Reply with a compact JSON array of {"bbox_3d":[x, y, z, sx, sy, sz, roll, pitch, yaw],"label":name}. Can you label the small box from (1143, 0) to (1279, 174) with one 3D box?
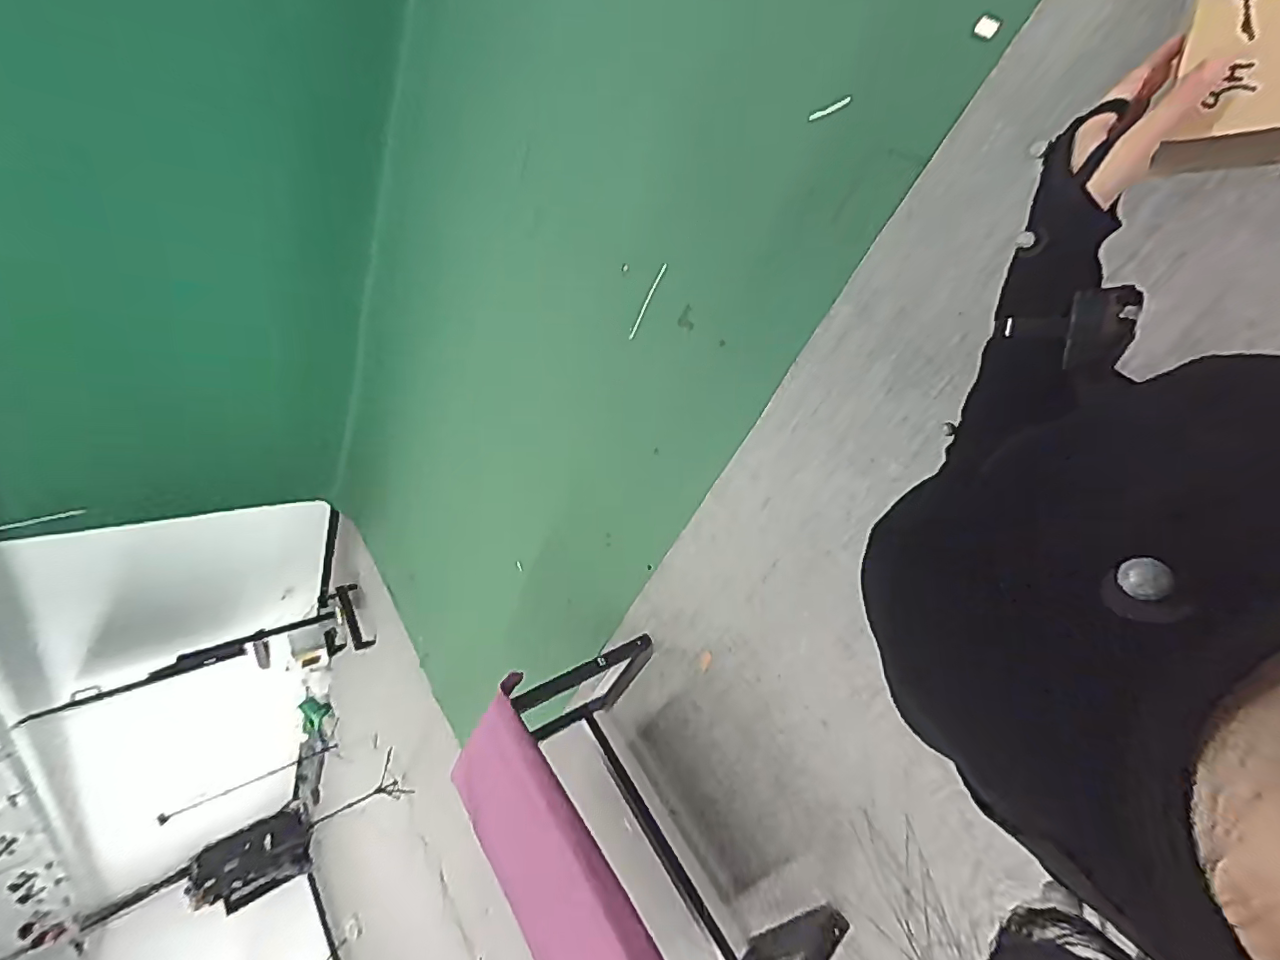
[{"bbox_3d":[0.467,-0.311,0.351,0.179,0.176,0.168,13,114,37],"label":"small box"}]
